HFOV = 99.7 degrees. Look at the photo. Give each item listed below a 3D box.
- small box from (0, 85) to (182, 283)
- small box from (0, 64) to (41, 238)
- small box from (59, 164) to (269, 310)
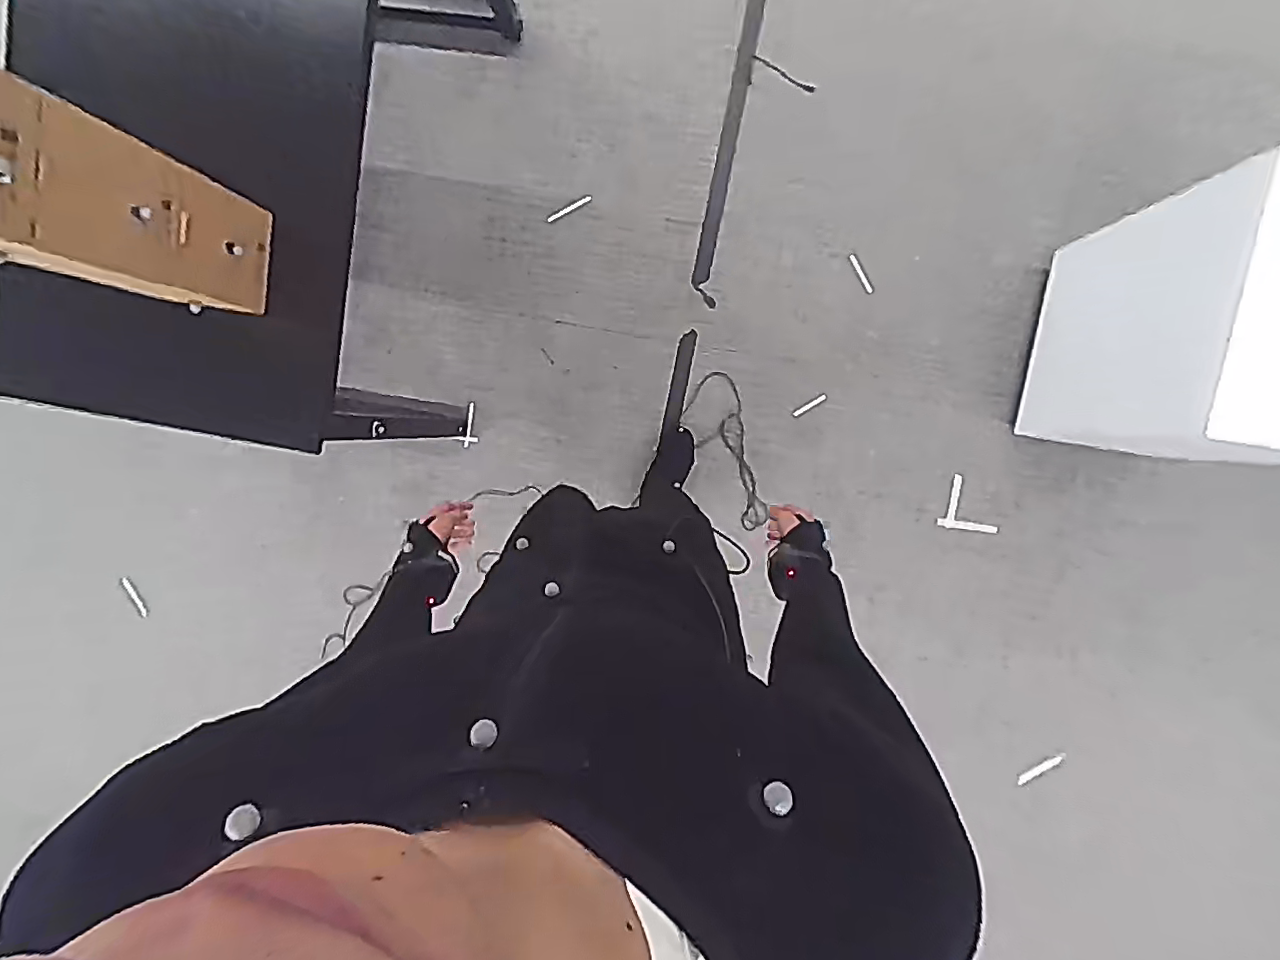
[{"bbox_3d":[-0.713,-0.349,0.650,0.179,0.176,0.168,10,96,2],"label":"small box"},{"bbox_3d":[-0.721,-0.336,0.488,0.179,0.176,0.168,9,97,2],"label":"small box"},{"bbox_3d":[-0.702,-0.364,0.814,0.179,0.176,0.168,9,95,2],"label":"small box"}]
